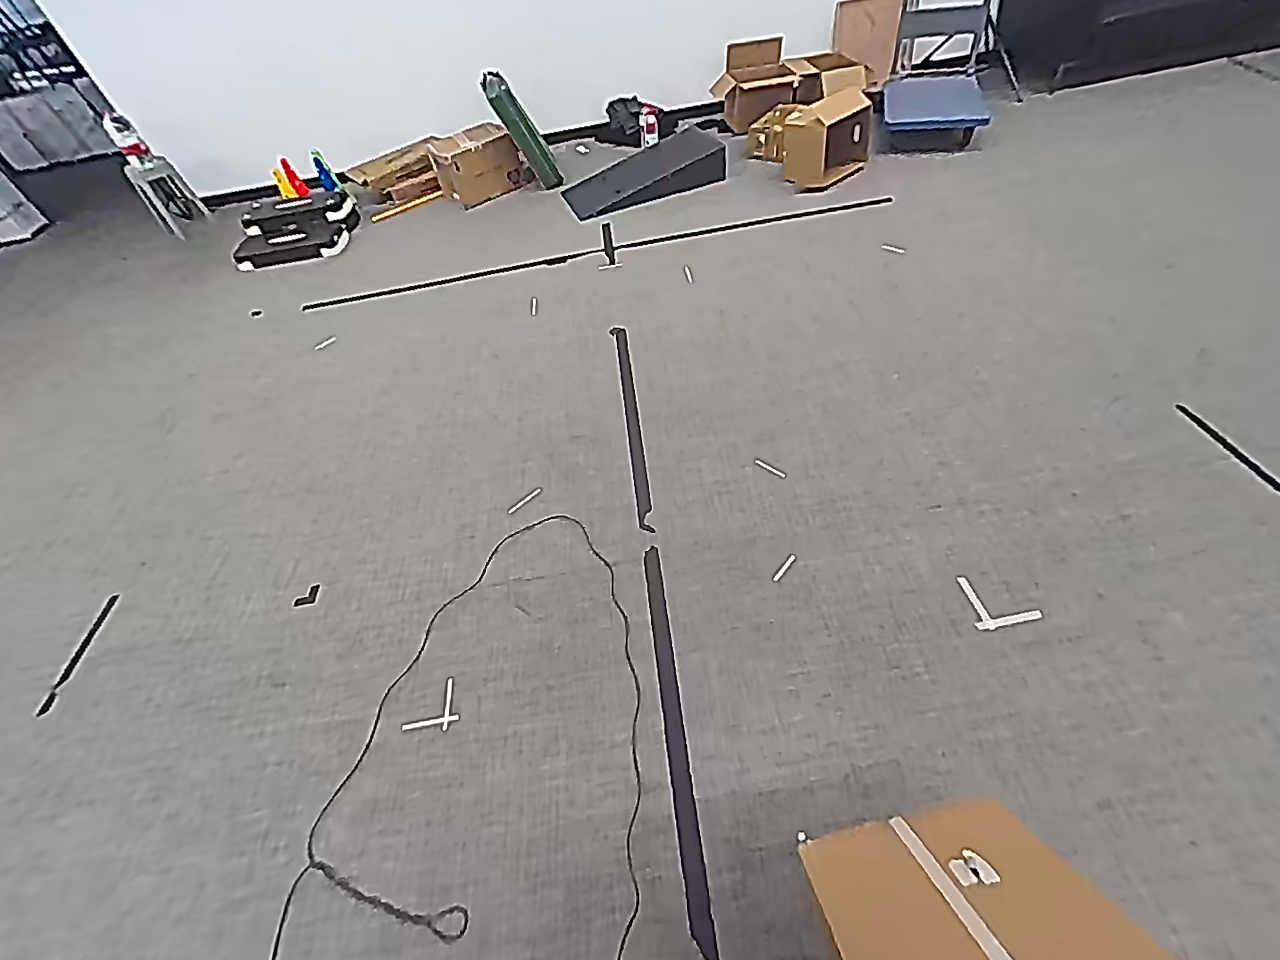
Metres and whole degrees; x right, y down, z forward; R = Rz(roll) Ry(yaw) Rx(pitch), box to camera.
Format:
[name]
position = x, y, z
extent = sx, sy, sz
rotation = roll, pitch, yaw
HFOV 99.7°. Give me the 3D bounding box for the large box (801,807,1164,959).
[large box]
position = 0.434, 0.683, 0.638
extent = 0.320, 0.408, 0.320
rotation = -13, 87, 0
